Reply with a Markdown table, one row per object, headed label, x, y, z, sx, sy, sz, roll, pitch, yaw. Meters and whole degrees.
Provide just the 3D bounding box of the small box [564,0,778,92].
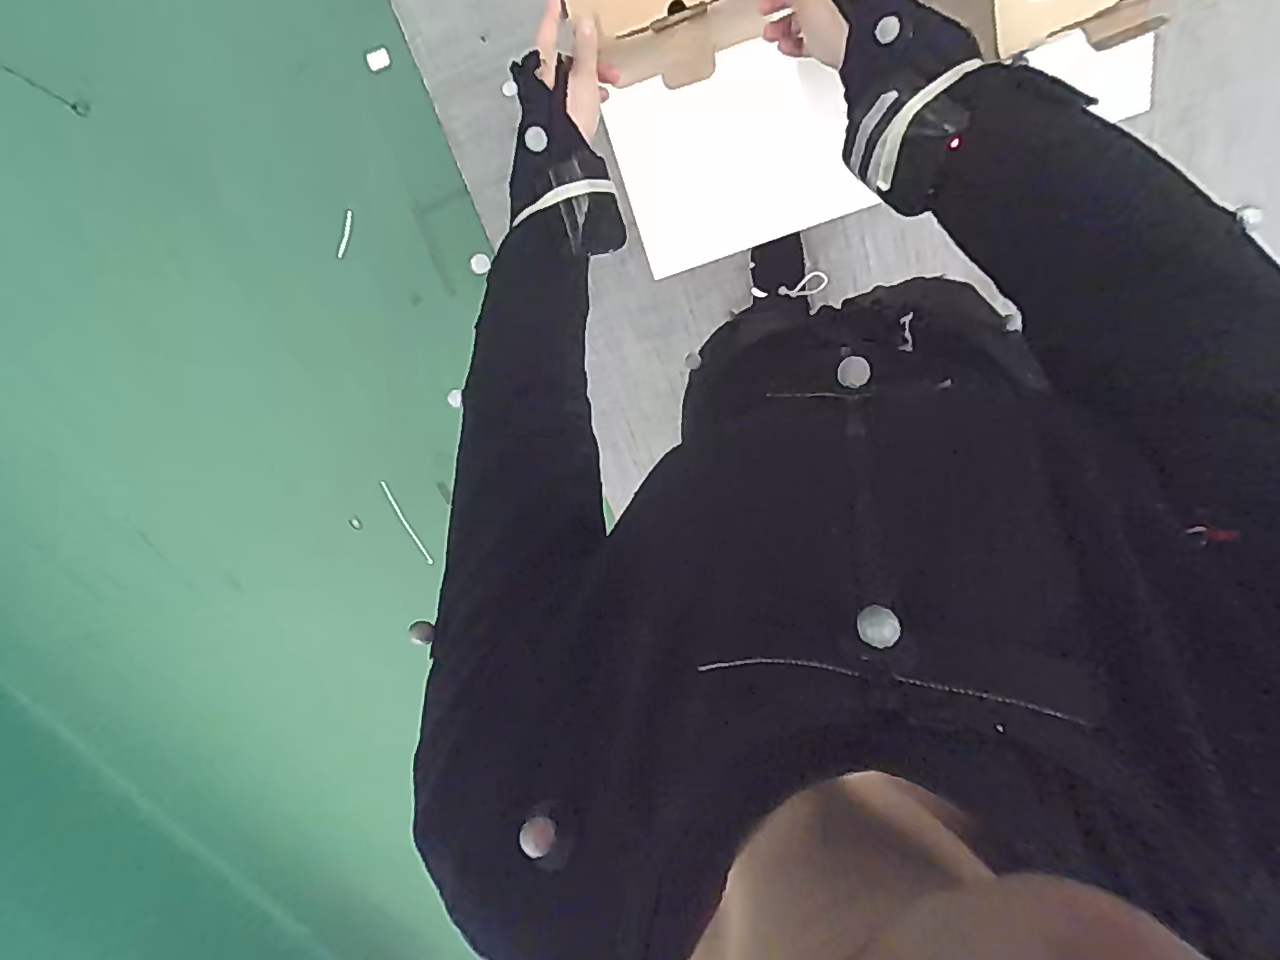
| label | x | y | z | sx | sy | sz | roll | pitch | yaw |
| --- | --- | --- | --- | --- | --- | --- | --- | --- | --- |
| small box | 0.016 | -0.462 | 0.451 | 0.168 | 0.176 | 0.179 | -11 | 116 | 14 |
